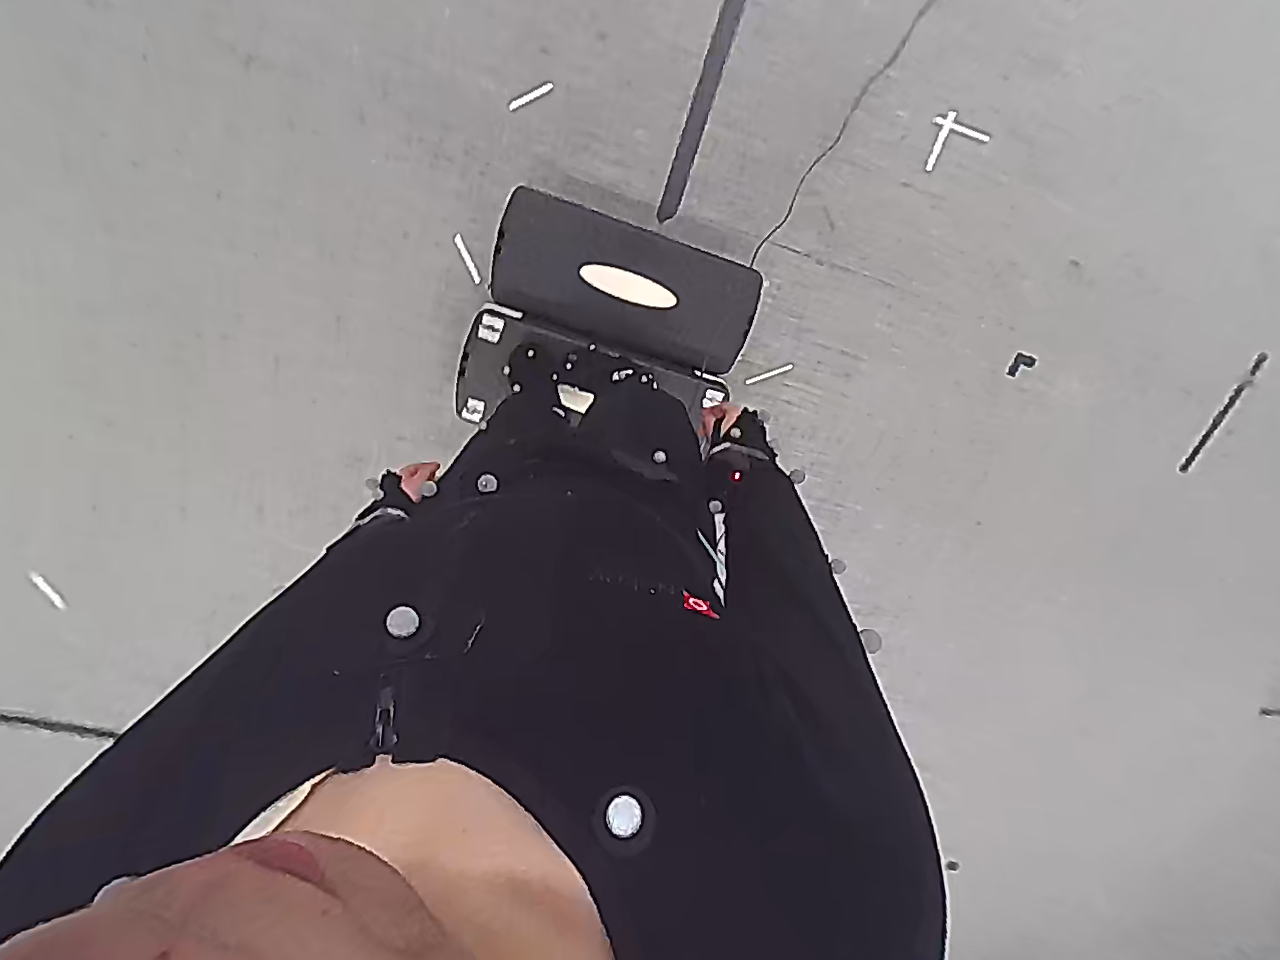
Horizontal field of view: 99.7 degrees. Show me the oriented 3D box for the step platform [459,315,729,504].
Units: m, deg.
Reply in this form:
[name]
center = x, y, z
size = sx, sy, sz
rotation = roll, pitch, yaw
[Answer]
[step platform]
center = -0.114, -0.179, 1.428
size = 0.684, 0.204, 0.286
rotation = 20, 105, -10
